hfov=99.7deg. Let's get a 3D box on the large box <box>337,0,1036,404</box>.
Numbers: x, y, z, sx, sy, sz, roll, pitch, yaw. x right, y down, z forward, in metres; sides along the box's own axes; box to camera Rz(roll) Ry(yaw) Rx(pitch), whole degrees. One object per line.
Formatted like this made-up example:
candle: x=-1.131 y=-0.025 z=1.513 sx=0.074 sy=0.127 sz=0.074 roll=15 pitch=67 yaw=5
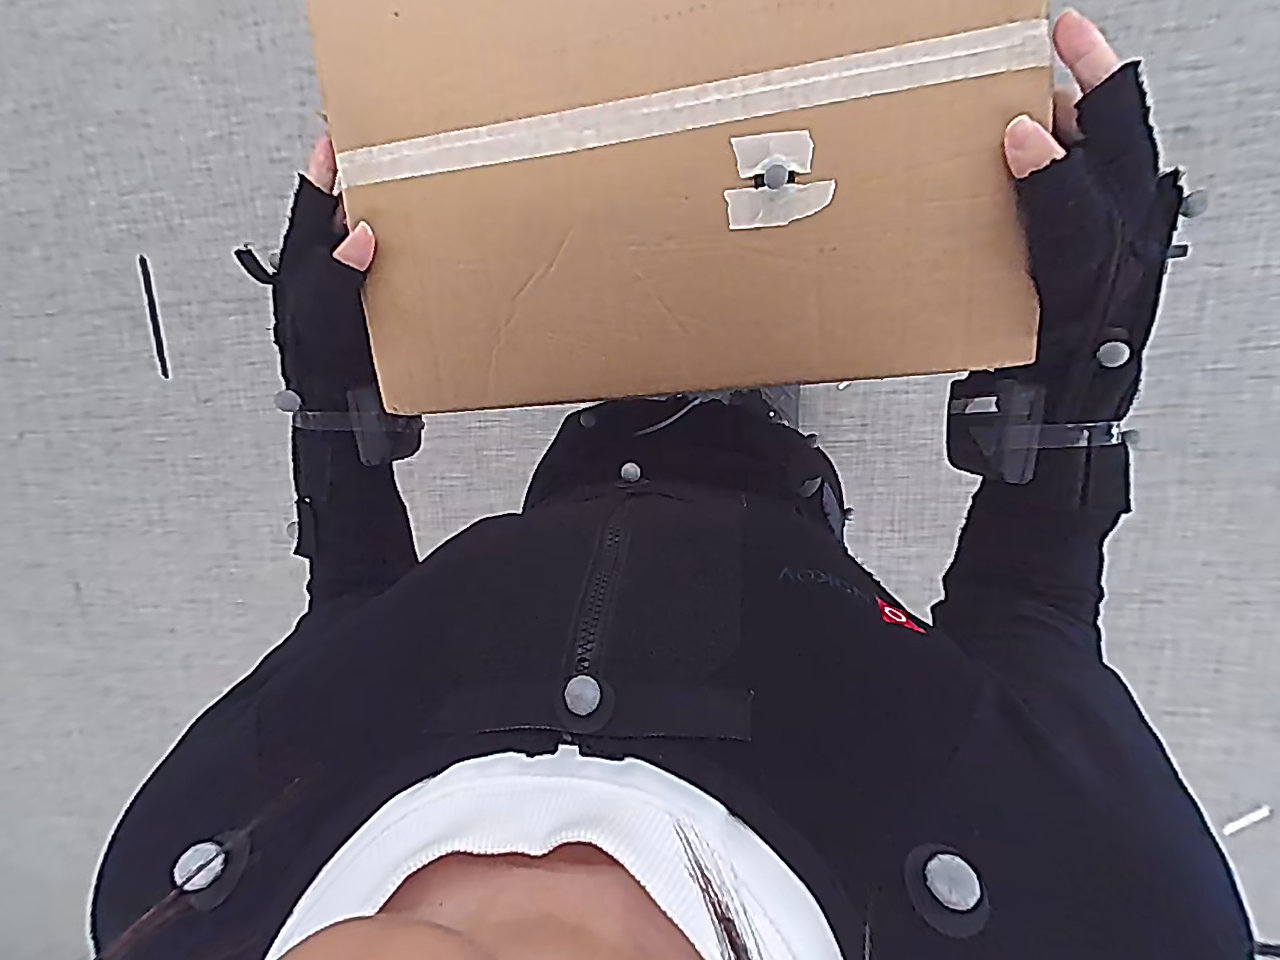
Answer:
large box: x=0.036 y=-0.247 z=0.465 sx=0.408 sy=0.320 sz=0.320 roll=-3 pitch=102 yaw=10
